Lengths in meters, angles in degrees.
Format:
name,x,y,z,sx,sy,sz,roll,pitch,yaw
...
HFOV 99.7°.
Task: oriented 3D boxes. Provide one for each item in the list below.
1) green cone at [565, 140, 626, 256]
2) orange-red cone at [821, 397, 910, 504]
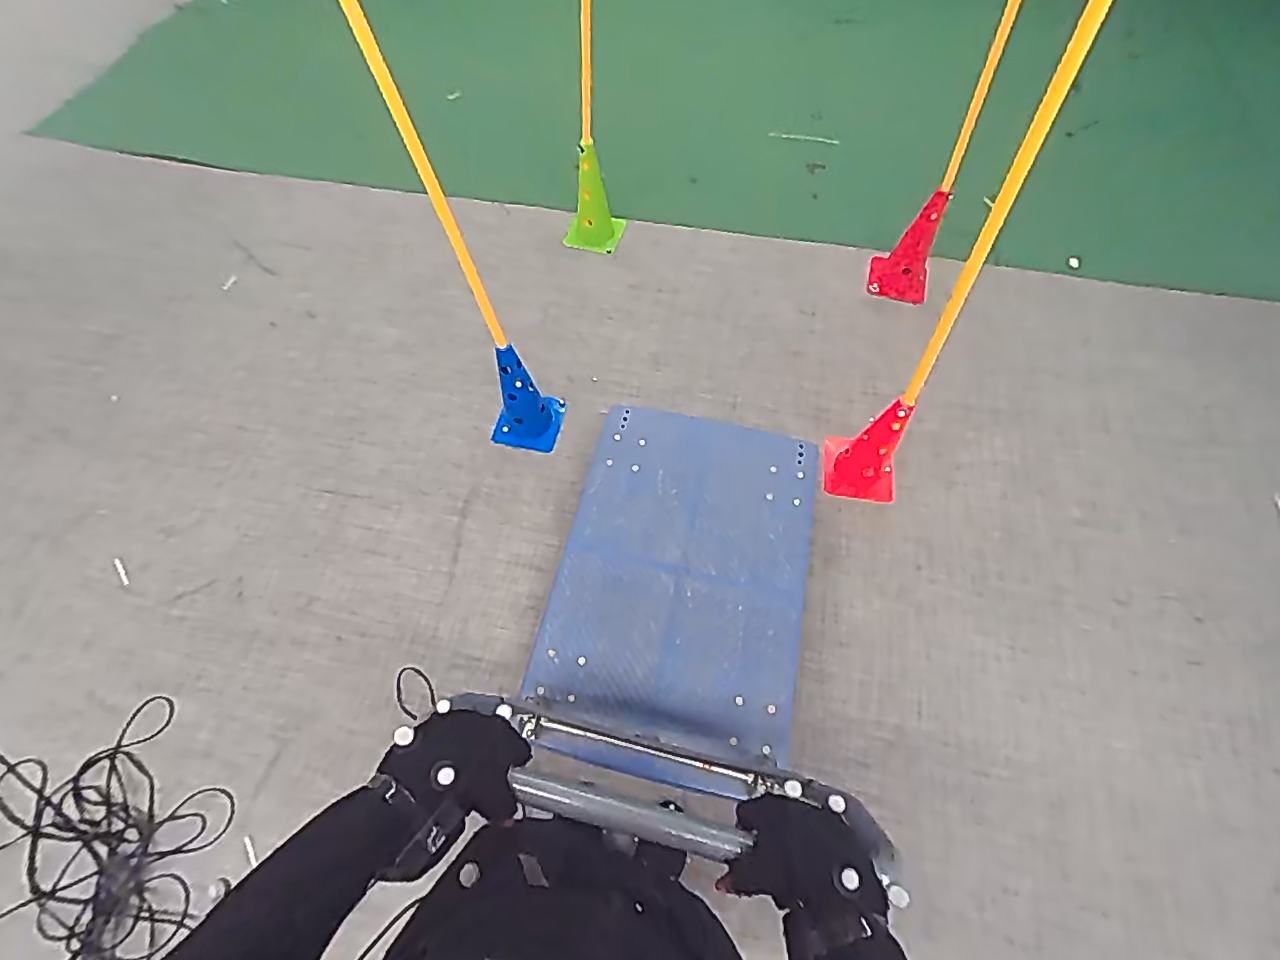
name,x,y,z,sx,sy,sz,roll,pitch,yaw
green cone,-0.175,-1.028,1.940,0.202,0.368,0.200,14,63,8
orange-red cone,0.640,-0.104,1.467,0.199,0.360,0.198,9,63,7
